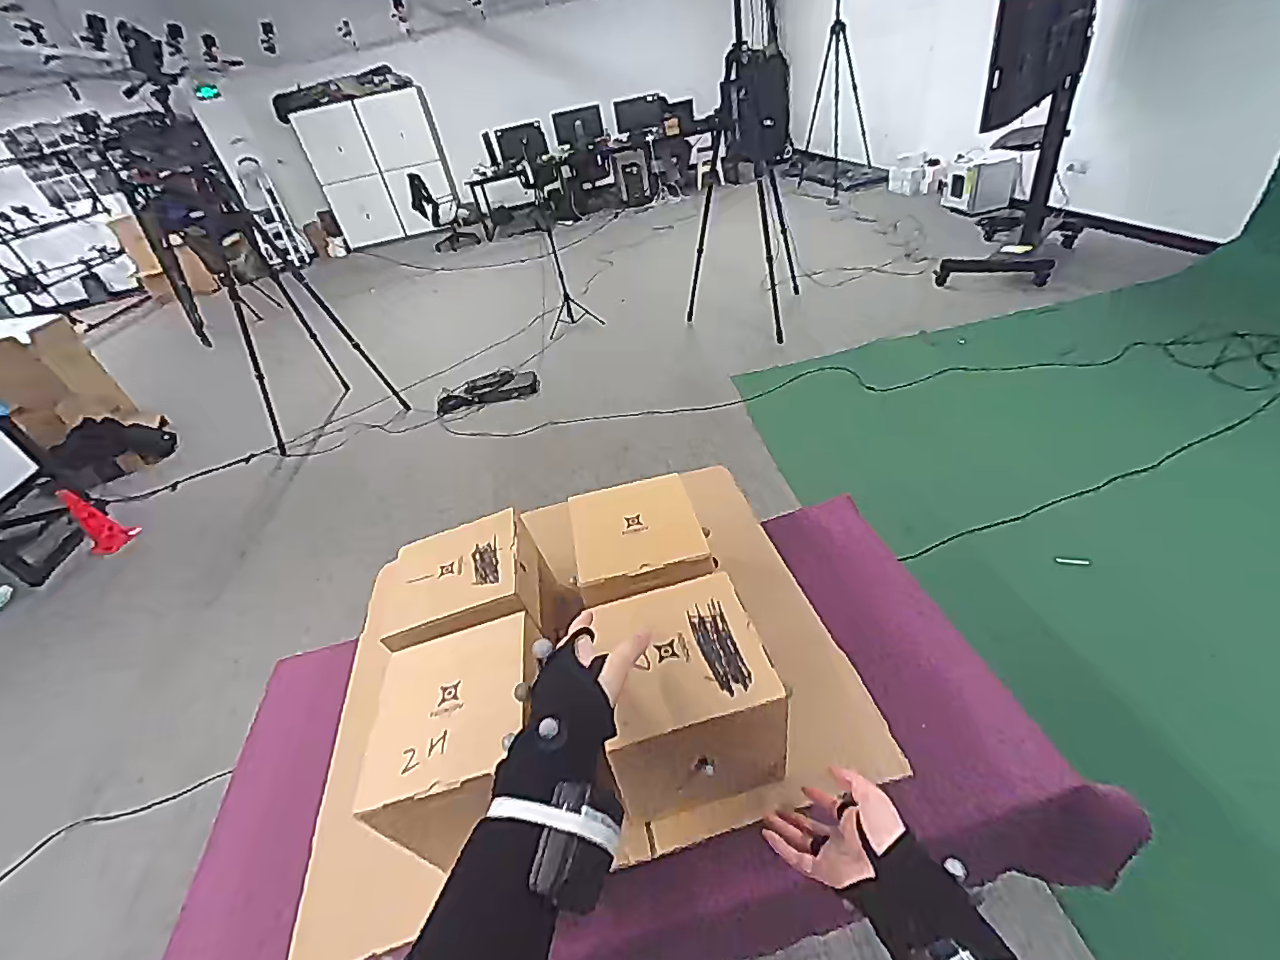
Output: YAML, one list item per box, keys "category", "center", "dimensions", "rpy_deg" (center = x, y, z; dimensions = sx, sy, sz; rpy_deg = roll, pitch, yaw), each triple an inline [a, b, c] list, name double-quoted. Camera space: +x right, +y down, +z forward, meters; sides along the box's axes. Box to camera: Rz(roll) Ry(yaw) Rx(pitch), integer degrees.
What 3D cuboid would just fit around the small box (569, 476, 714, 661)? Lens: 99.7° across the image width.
- category: "small box"
  center: [0.001, 0.123, 0.767]
  dimensions: [0.168, 0.176, 0.179]
  rpy_deg: [-13, 38, -4]
